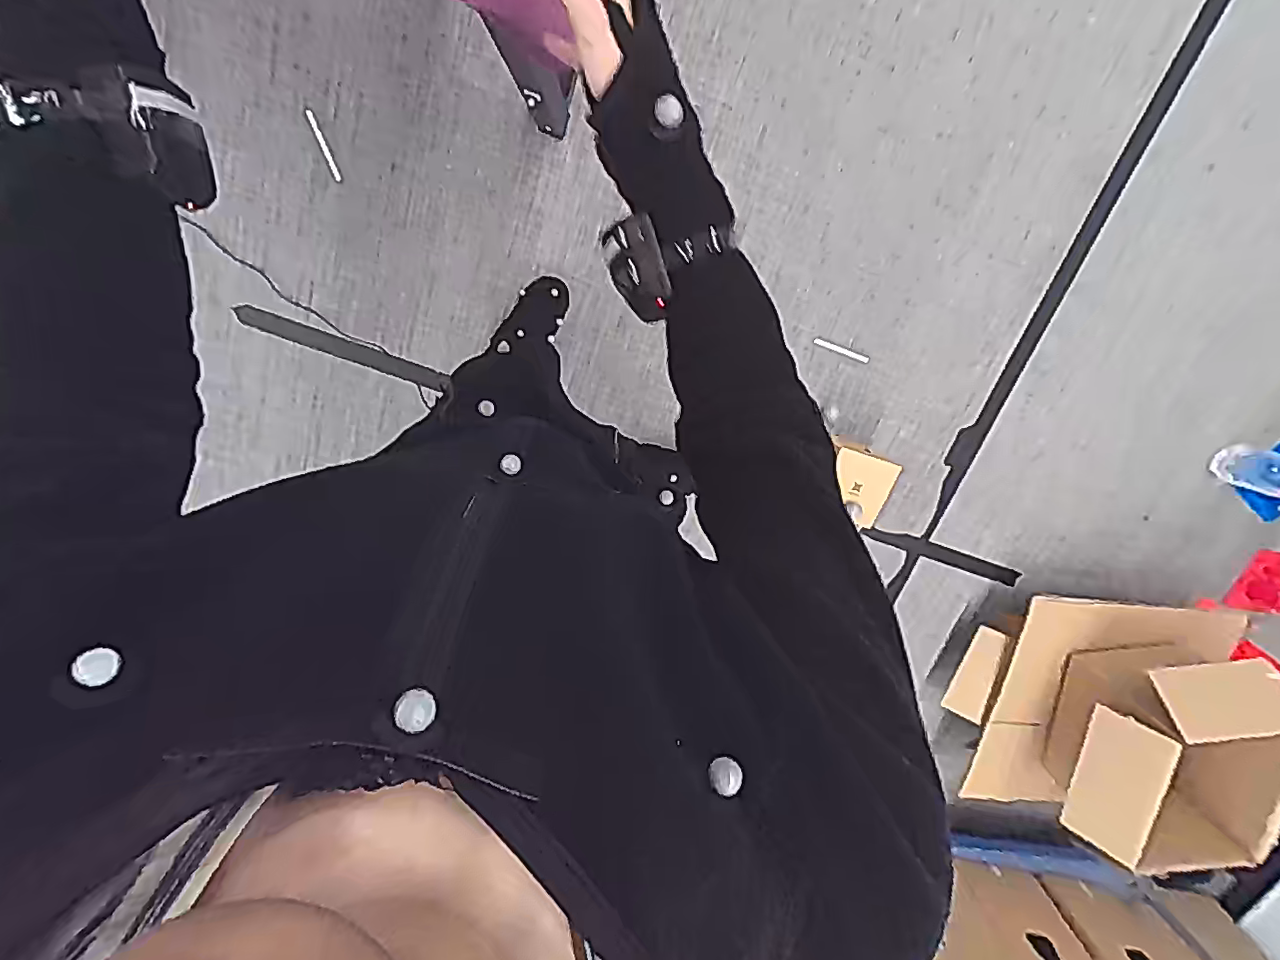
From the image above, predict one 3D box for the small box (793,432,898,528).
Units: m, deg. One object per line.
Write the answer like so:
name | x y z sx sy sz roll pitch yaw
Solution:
small box | 0.515 -0.007 1.387 0.168 0.176 0.179 17 109 -8
